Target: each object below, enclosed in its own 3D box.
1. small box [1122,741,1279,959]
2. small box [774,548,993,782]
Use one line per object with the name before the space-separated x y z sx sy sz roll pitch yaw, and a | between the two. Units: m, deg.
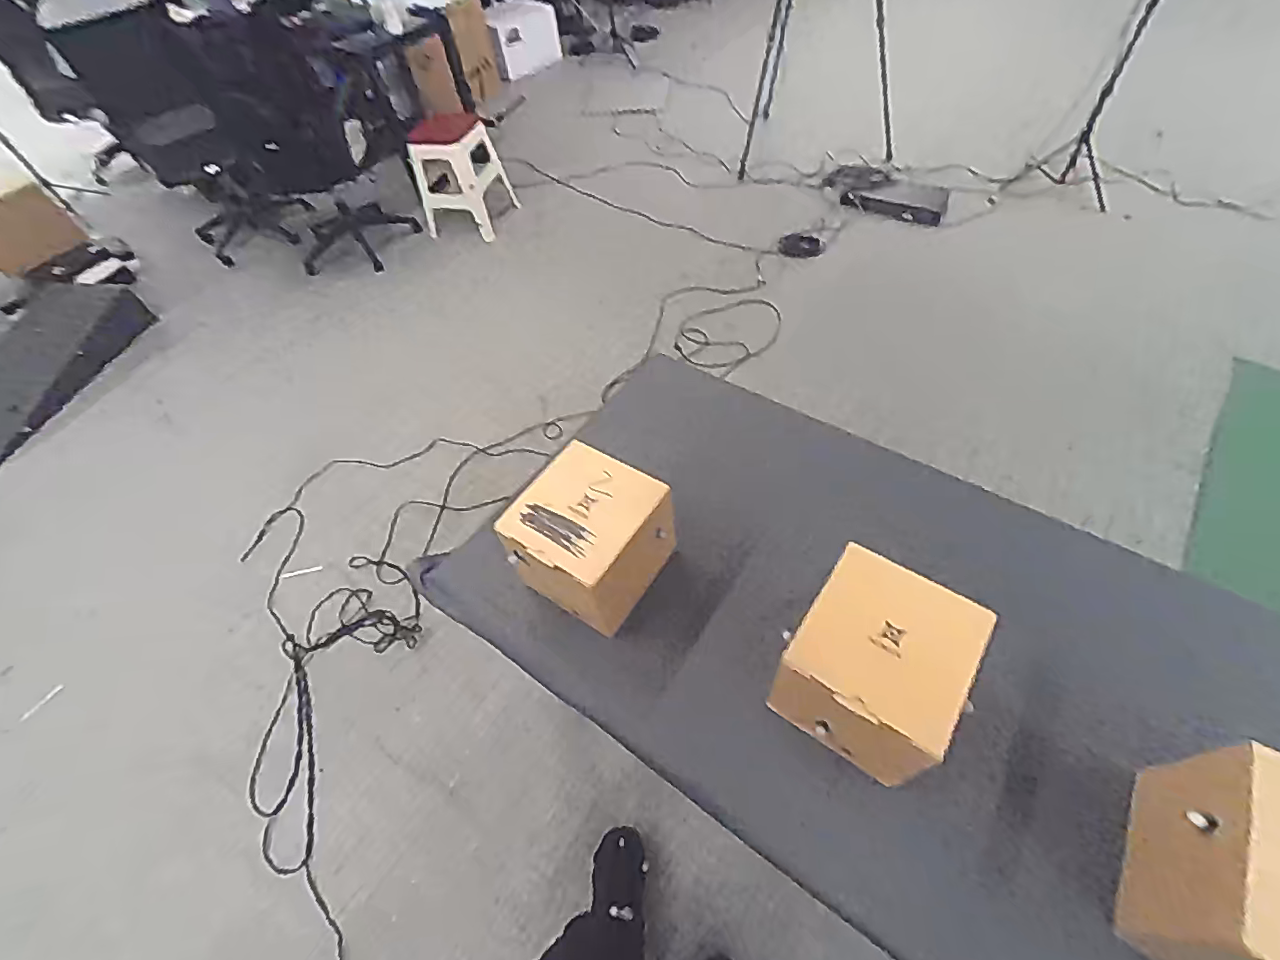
small box | 0.578 0.373 0.478 0.168 0.176 0.179 25 60 25
small box | 0.272 0.219 0.639 0.168 0.176 0.179 28 61 24
